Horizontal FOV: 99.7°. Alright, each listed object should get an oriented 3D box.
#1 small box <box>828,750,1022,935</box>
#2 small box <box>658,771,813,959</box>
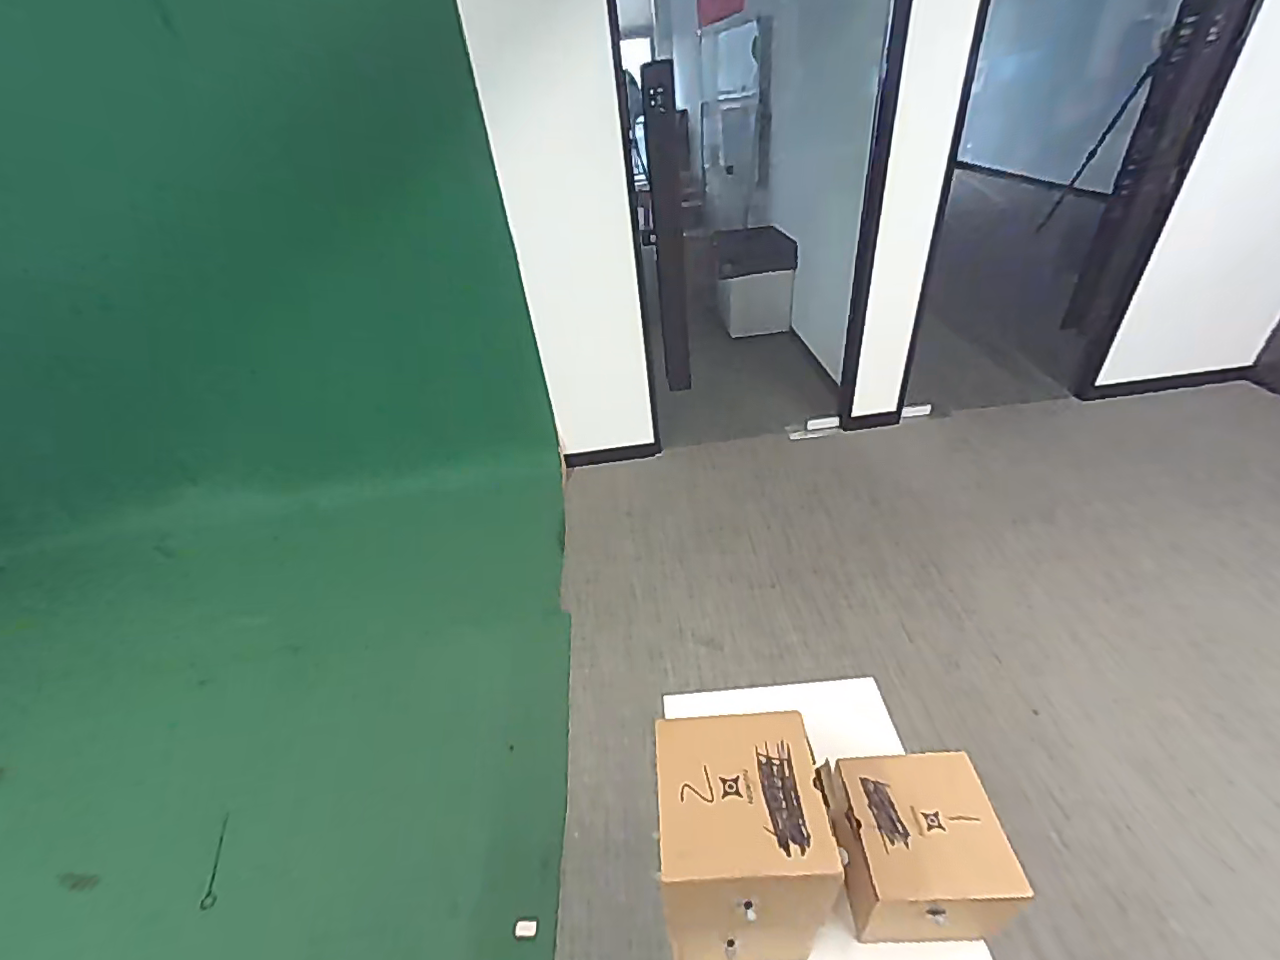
[{"bbox_3d":[0.363,0.491,0.732,0.179,0.176,0.168,-4,37,4],"label":"small box"},{"bbox_3d":[0.120,0.521,0.732,0.179,0.176,0.168,-4,37,2],"label":"small box"}]
